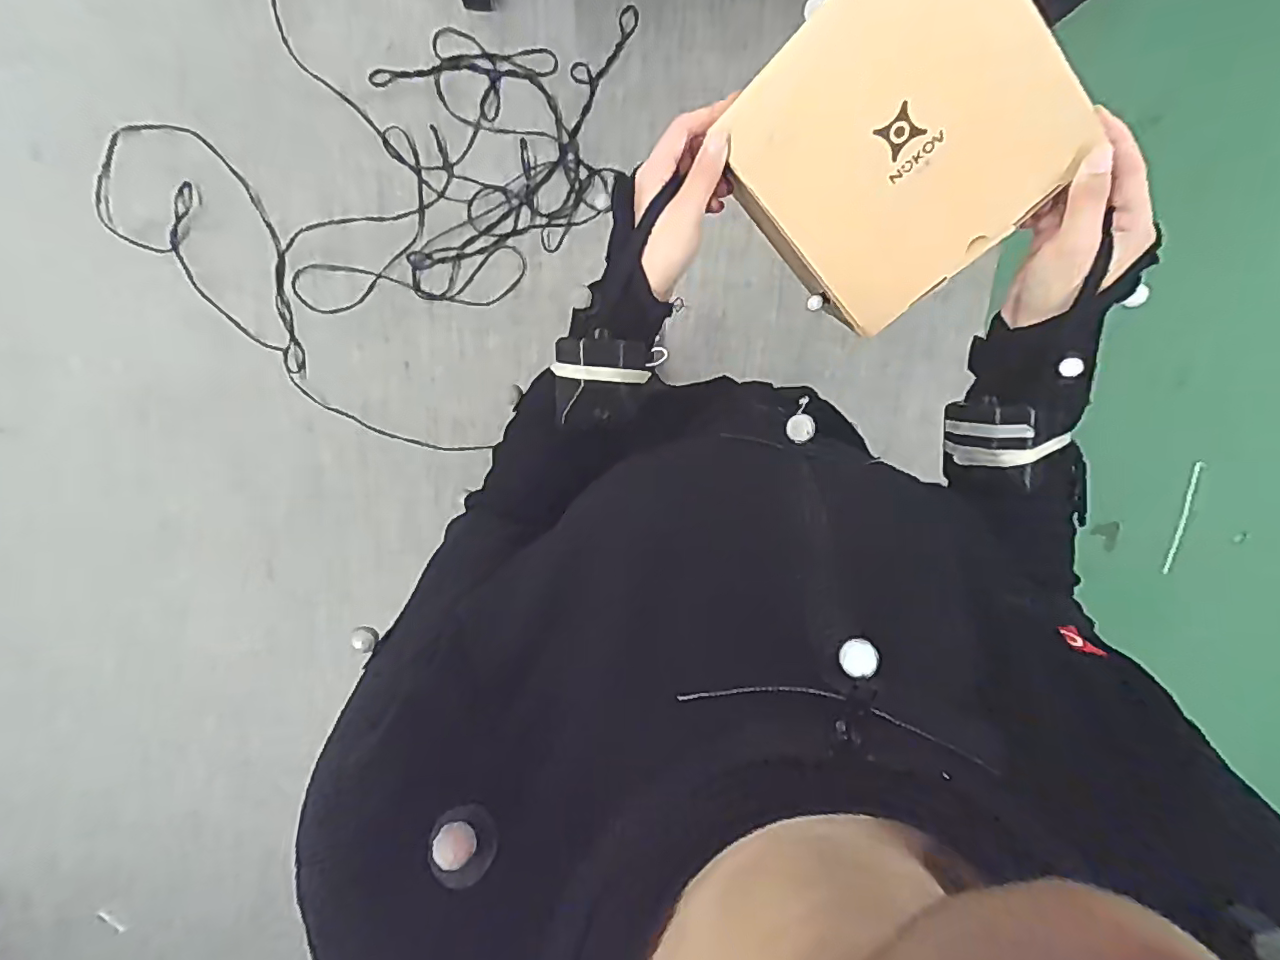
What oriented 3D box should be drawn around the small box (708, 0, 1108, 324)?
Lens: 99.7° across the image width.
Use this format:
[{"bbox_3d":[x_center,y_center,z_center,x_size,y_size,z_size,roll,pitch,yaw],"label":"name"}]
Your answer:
[{"bbox_3d":[0.164,-0.243,0.393,0.168,0.176,0.179,-40,105,22],"label":"small box"}]
